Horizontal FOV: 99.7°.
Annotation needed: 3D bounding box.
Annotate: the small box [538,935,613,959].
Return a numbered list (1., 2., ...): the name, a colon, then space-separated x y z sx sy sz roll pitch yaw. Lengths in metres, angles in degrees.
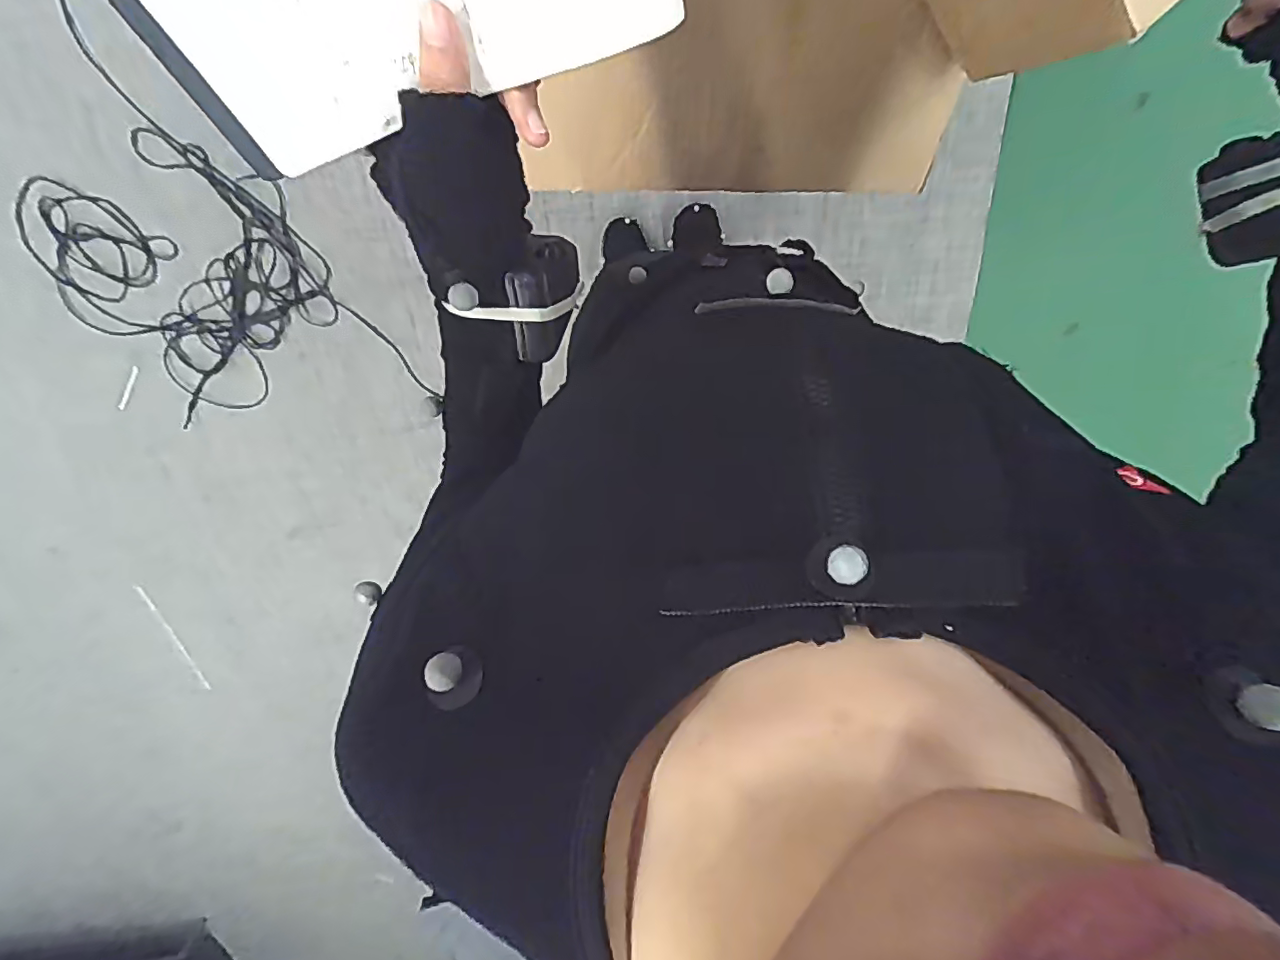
1. small box: -0.156 1.235 1.308 0.168 0.176 0.179 -7 118 2
